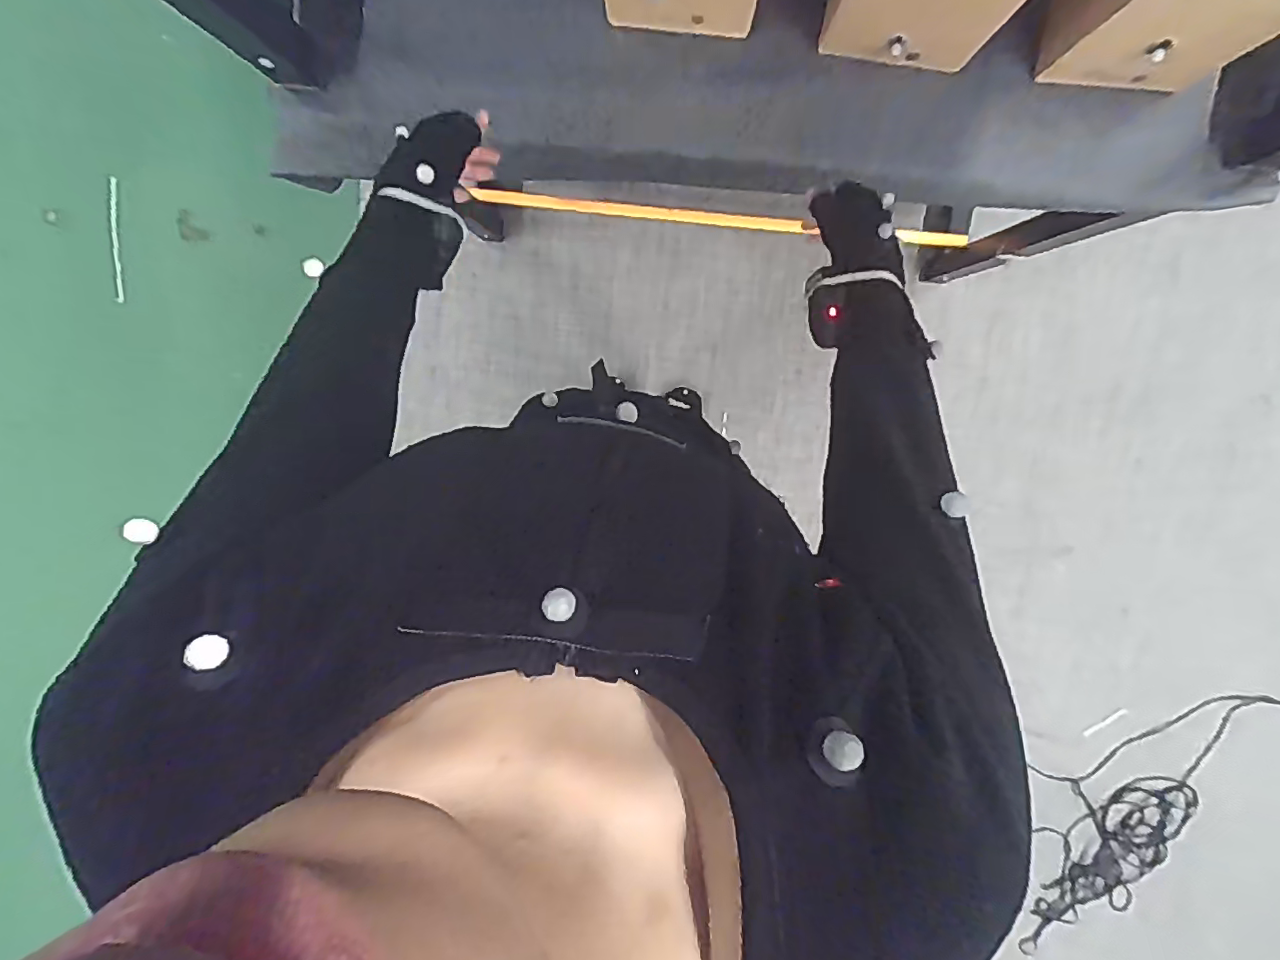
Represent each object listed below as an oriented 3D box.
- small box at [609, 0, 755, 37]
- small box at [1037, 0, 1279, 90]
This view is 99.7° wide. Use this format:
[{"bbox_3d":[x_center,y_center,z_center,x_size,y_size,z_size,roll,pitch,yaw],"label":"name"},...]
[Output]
[{"bbox_3d":[0.050,-0.594,0.545,0.168,0.176,0.179,7,101,1],"label":"small box"},{"bbox_3d":[0.539,-0.524,0.534,0.168,0.176,0.179,5,101,1],"label":"small box"}]
